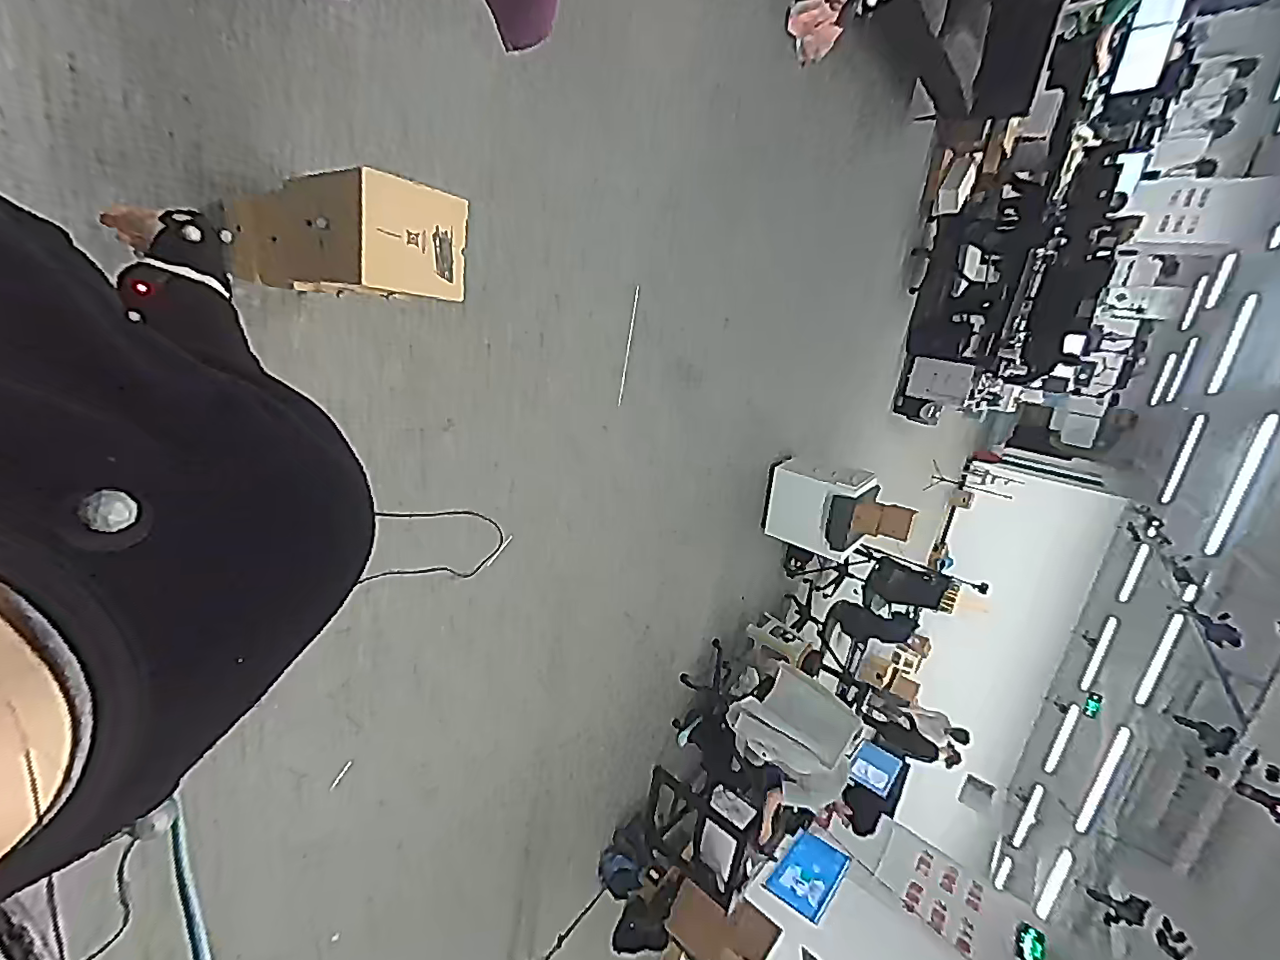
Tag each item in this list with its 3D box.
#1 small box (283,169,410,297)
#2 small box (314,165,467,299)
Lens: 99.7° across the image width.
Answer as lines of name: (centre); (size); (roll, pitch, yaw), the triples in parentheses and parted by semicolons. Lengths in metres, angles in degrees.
small box: (-0.540, -0.447, 1.000); (0.168, 0.176, 0.179); (-7, 111, -50)
small box: (-0.415, -0.405, 0.901); (0.179, 0.176, 0.168); (-10, 113, -49)
